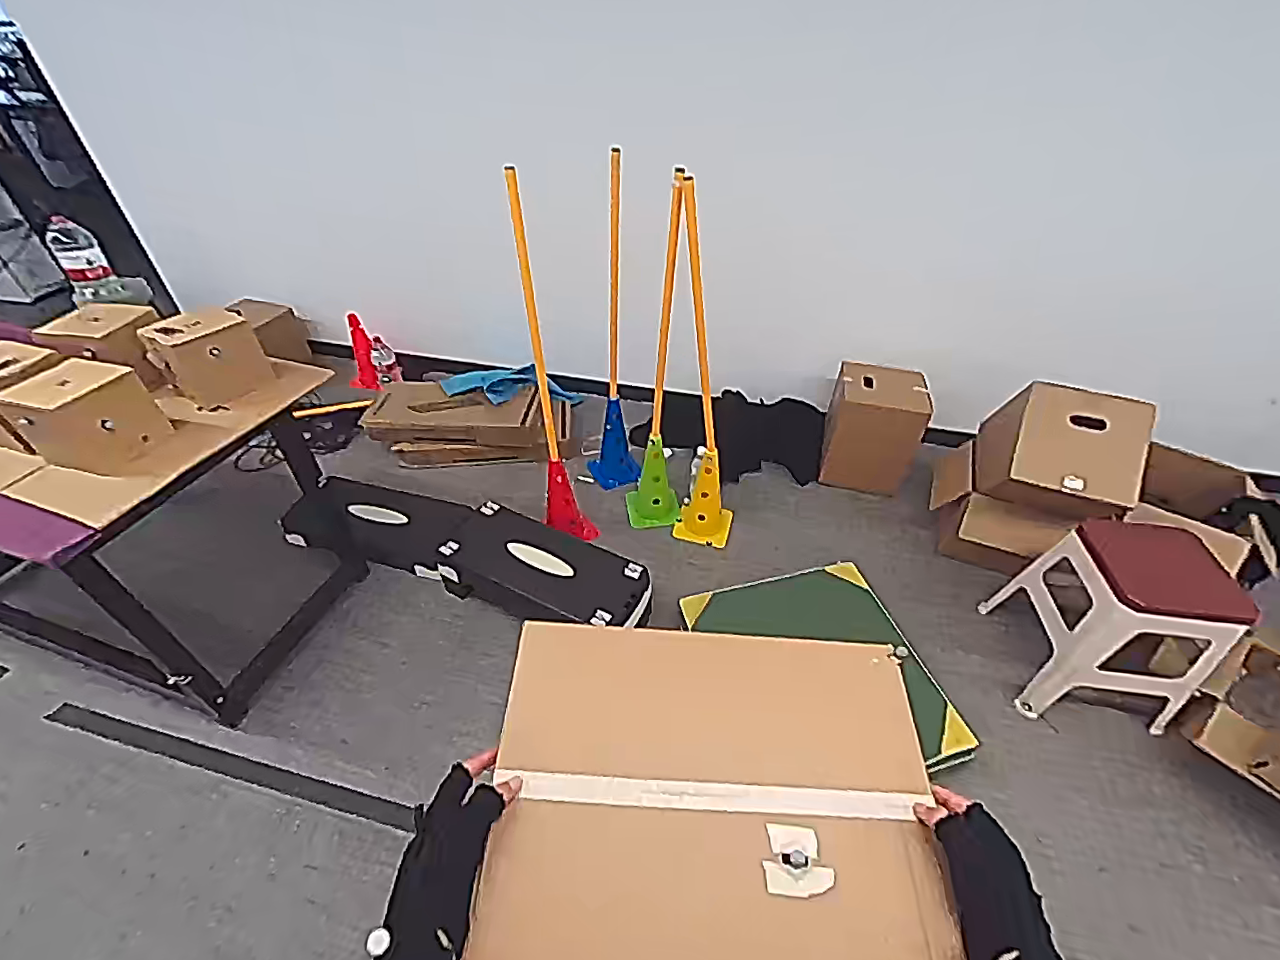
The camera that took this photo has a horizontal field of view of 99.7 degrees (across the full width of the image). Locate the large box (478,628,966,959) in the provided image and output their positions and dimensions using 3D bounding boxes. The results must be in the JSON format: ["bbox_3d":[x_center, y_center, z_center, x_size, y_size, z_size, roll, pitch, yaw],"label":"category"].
[{"bbox_3d":[0.065,0.390,0.622,0.408,0.320,0.320,4,51,0],"label":"large box"}]
